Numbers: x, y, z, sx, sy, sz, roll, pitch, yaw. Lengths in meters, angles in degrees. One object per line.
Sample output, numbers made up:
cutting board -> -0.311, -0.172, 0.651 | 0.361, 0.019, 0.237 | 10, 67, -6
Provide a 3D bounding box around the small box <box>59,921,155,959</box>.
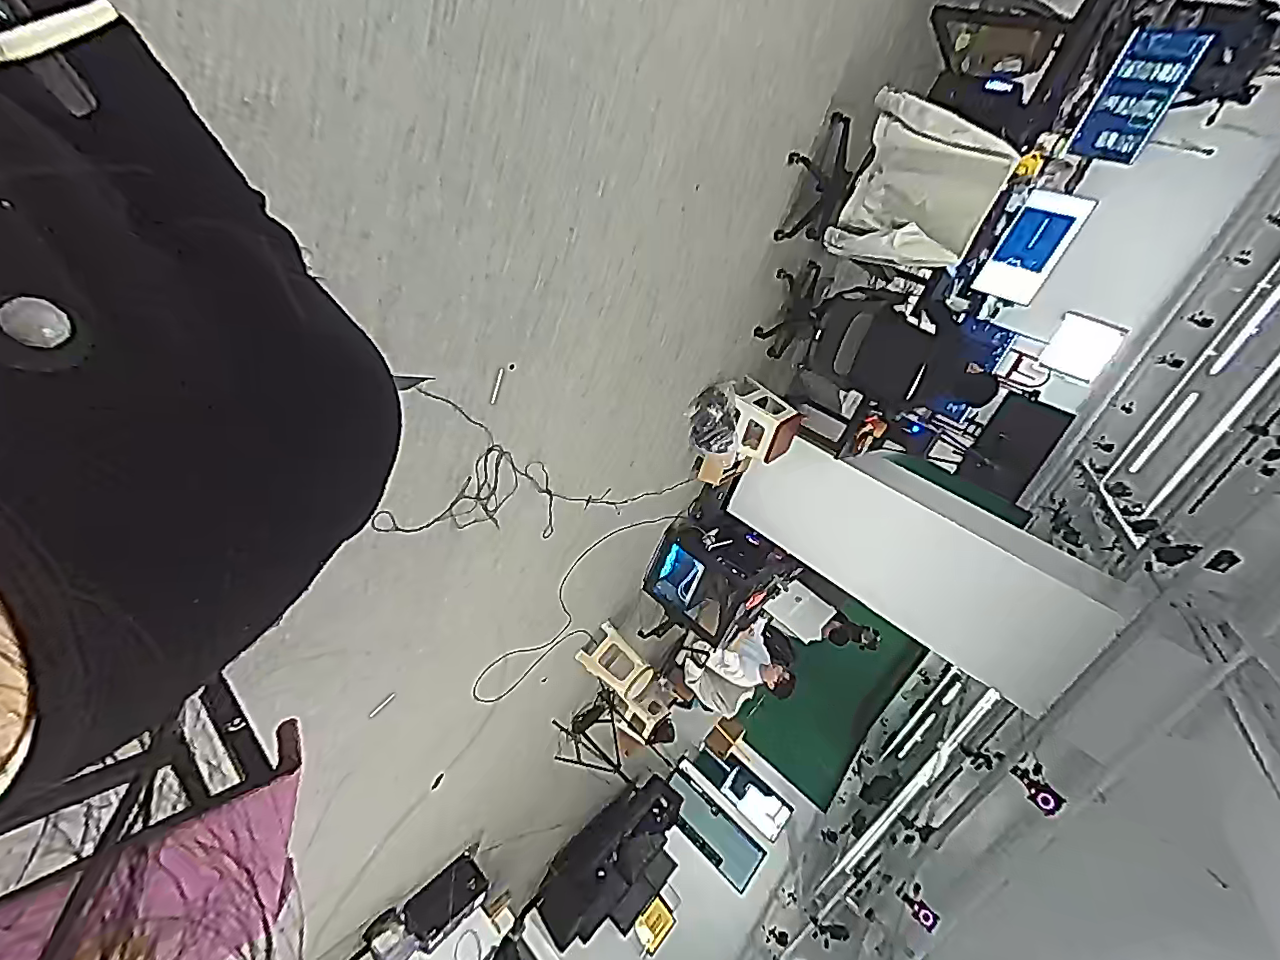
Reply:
small box -> -0.981, 0.958, 0.968 | 0.168, 0.176, 0.179 | -9, 127, -54
